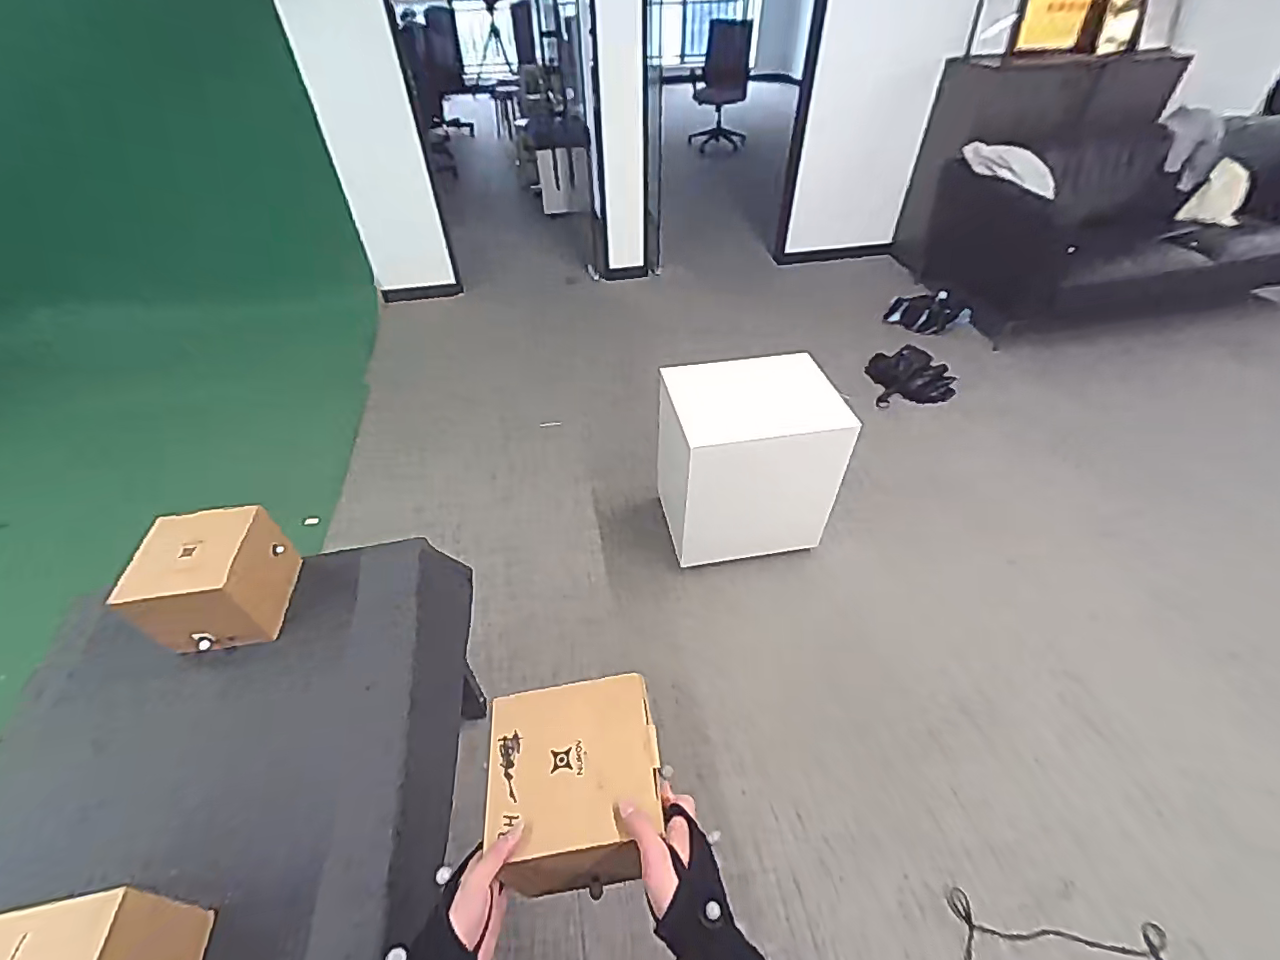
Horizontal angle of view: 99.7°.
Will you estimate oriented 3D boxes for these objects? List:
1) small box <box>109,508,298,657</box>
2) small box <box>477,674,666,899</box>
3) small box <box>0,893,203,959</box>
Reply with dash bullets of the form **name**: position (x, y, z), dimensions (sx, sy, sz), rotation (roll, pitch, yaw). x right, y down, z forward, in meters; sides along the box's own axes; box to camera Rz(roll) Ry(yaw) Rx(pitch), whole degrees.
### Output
- **small box**: position (-0.719, 0.174, 0.921), dimensions (0.168, 0.176, 0.179), rotation (-8, 46, -6)
- **small box**: position (-0.067, 0.347, 0.612), dimensions (0.179, 0.176, 0.168), rotation (-9, 42, -1)
- **small box**: position (-0.589, 0.548, 0.537), dimensions (0.168, 0.176, 0.179), rotation (-8, 44, -8)
